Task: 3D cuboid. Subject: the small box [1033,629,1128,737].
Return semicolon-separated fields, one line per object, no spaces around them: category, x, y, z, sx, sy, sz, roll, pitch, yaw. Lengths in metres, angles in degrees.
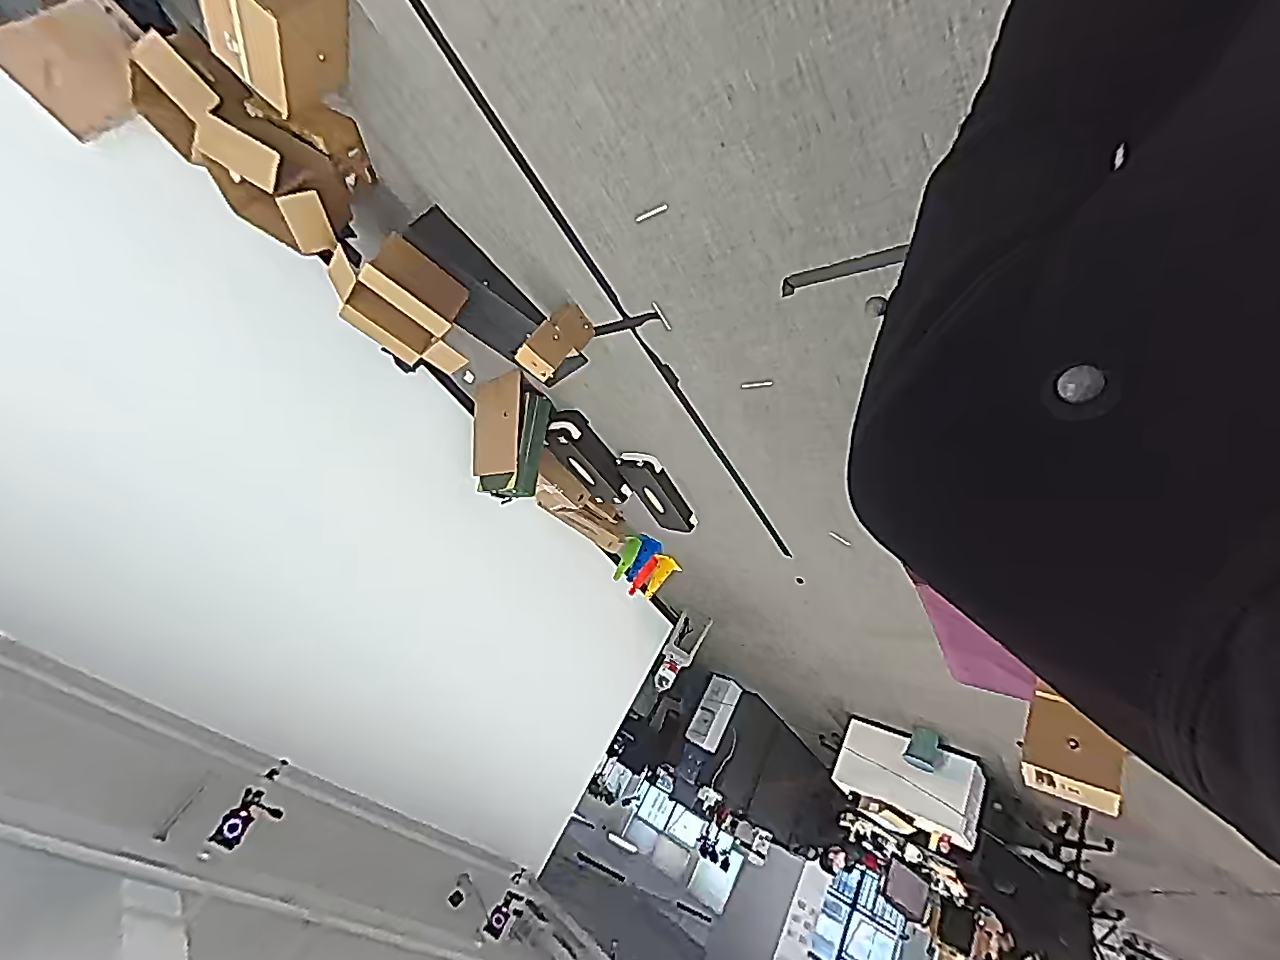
small box;1.081;0.491;1.329;0.168;0.176;0.179;4;143;44
